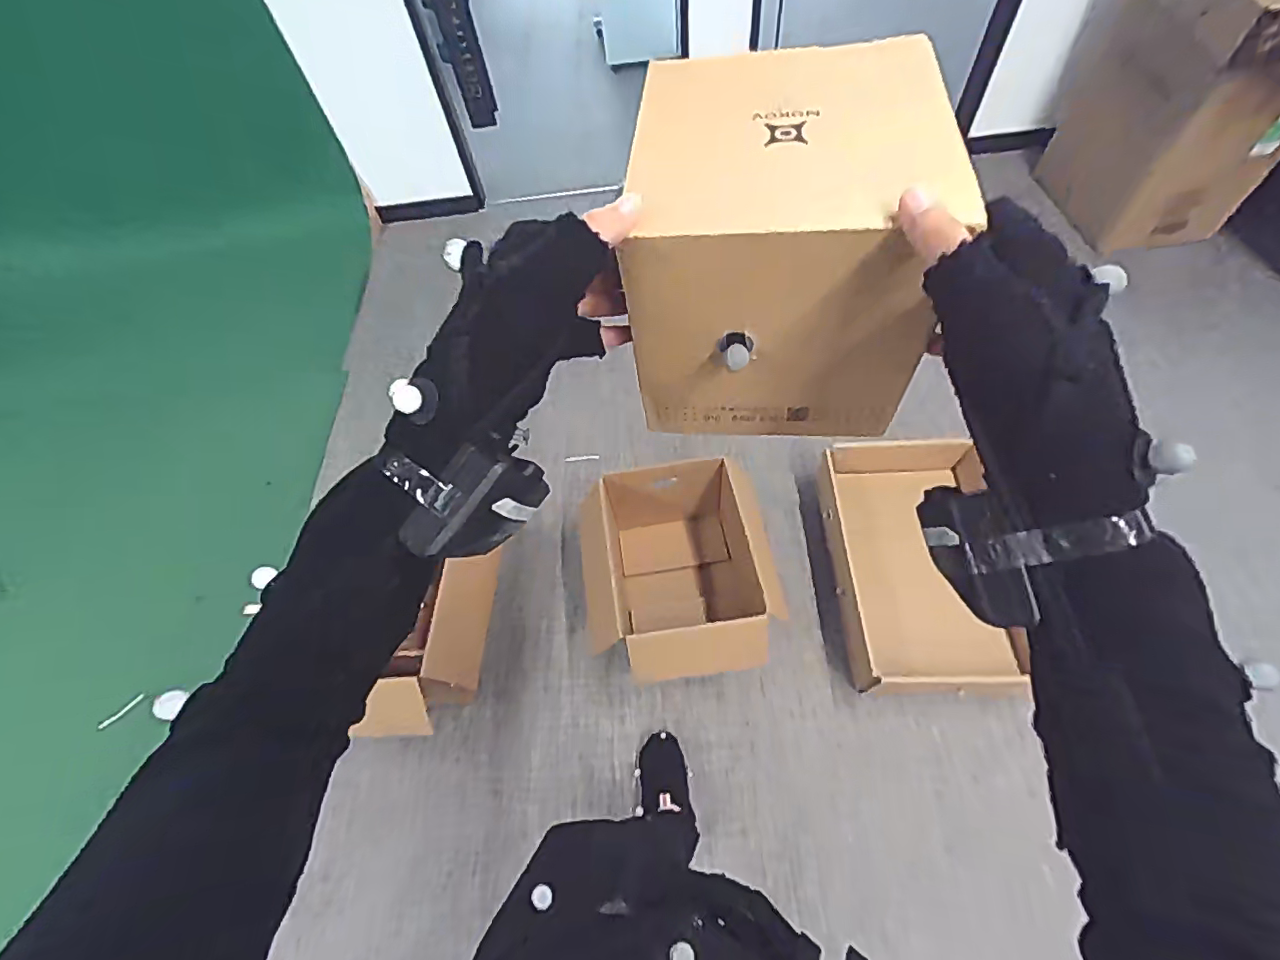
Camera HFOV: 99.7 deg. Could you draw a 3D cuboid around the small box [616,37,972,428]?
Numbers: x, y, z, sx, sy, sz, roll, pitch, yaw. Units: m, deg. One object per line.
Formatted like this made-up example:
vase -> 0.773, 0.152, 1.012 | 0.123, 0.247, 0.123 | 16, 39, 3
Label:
small box -> 0.088, -0.149, 0.360 | 0.168, 0.176, 0.179 | 2, 60, 9
